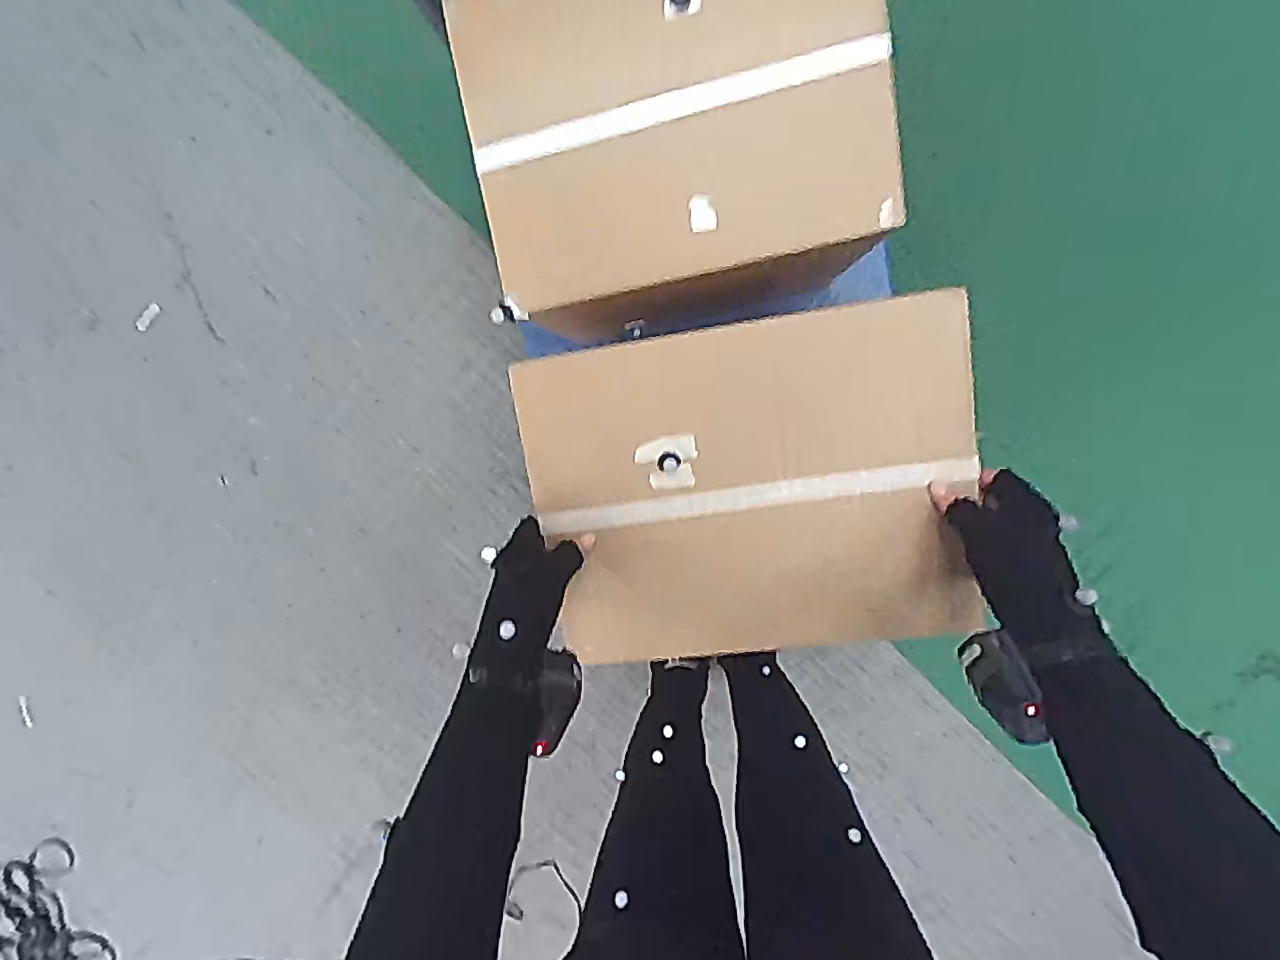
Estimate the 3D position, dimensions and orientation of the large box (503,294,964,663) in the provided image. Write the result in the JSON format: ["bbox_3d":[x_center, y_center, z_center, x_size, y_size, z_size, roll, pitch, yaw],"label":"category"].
[{"bbox_3d":[0.106,-0.013,0.653,0.408,0.320,0.320,-7,100,9],"label":"large box"}]
